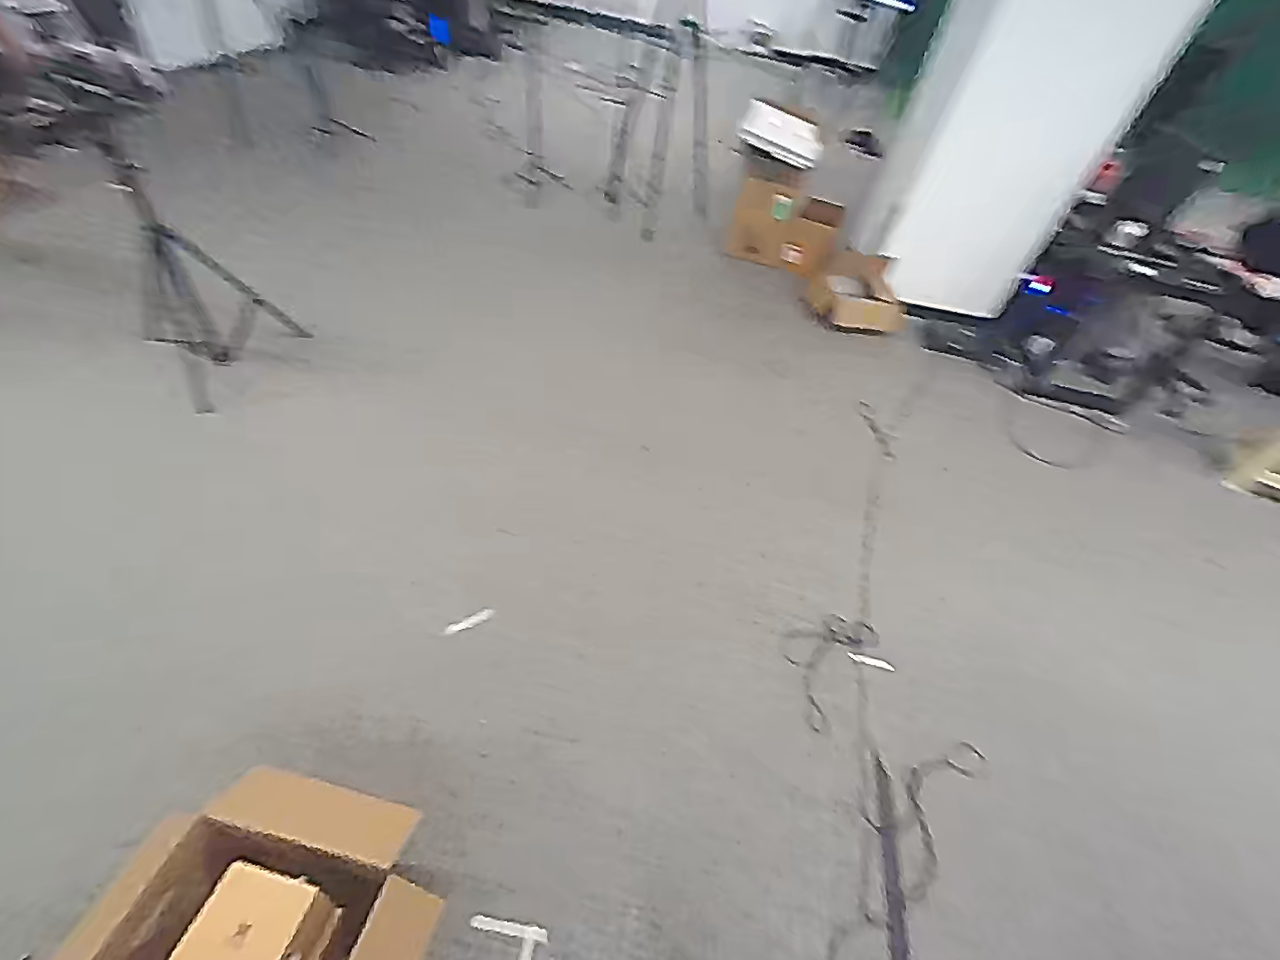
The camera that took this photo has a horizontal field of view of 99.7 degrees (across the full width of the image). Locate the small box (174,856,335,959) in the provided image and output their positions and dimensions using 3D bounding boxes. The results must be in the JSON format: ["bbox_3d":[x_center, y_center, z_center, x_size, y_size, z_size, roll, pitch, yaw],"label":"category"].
[{"bbox_3d":[-0.687,0.826,0.984,0.168,0.176,0.179,17,45,3],"label":"small box"}]
